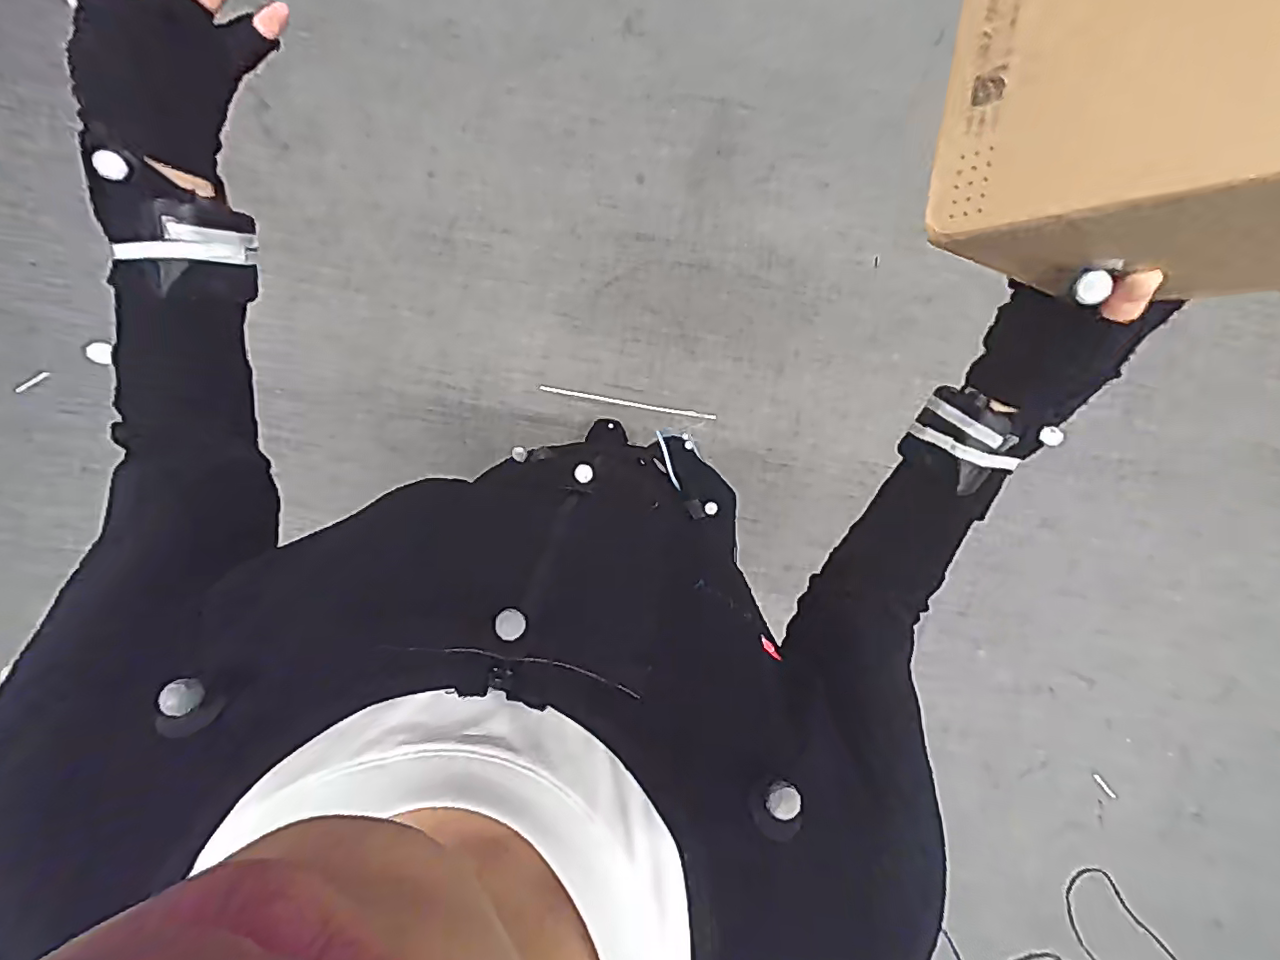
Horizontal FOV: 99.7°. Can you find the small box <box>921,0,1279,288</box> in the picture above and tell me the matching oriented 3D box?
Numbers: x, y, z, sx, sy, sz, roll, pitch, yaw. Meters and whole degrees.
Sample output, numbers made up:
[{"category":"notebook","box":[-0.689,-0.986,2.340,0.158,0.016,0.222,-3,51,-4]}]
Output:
[{"category":"small box","box":[0.254,-0.181,0.221,0.179,0.176,0.168,0,101,-31]}]
